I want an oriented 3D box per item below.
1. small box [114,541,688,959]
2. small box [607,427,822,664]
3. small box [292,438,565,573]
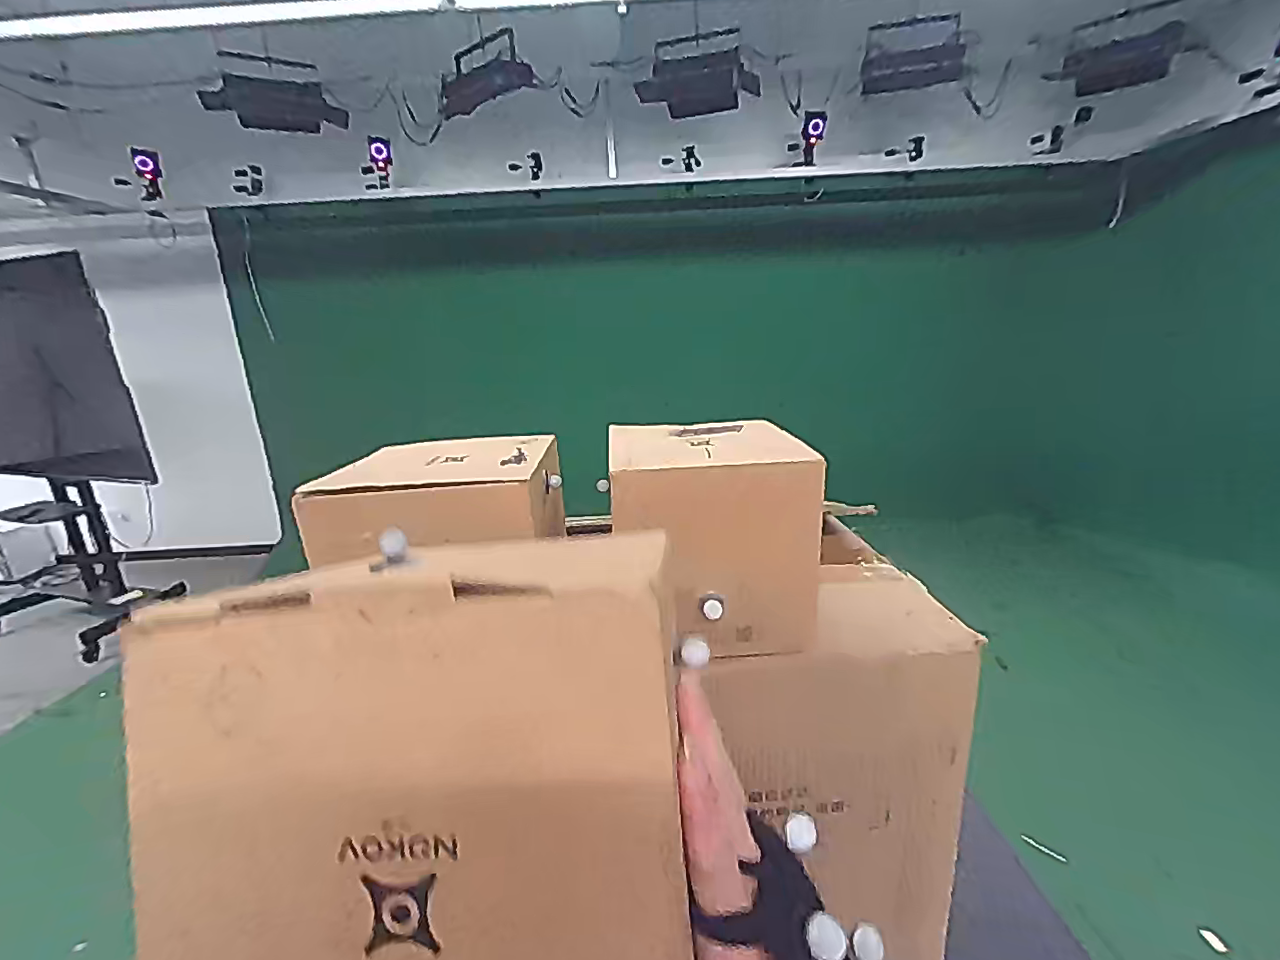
[{"bbox_3d":[-0.065,0.121,0.235,0.168,0.179,0.176,-3,1,4],"label":"small box"},{"bbox_3d":[0.054,0.050,0.508,0.168,0.176,0.179,-2,18,-2],"label":"small box"},{"bbox_3d":[-0.165,0.065,0.491,0.179,0.176,0.168,-3,17,-1],"label":"small box"}]
